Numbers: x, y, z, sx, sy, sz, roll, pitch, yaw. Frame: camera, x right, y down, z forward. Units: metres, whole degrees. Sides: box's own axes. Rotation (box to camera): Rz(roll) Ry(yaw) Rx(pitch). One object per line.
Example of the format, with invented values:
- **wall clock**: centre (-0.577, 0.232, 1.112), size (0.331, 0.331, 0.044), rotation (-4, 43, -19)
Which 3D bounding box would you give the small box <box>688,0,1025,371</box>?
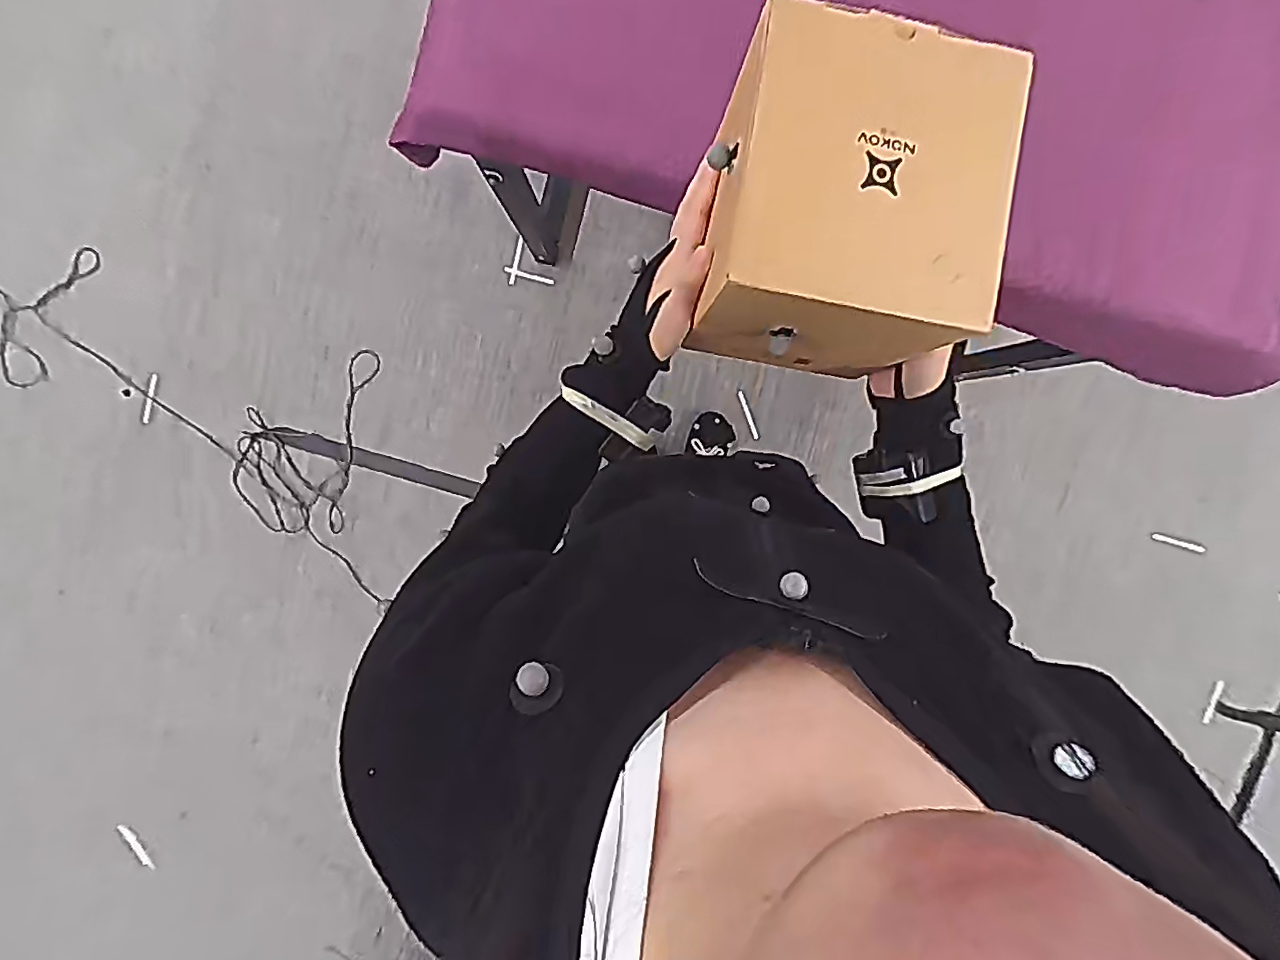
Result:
- **small box**: centre (0.137, -0.190, 0.405), size (0.168, 0.176, 0.179), rotation (9, 89, -5)
